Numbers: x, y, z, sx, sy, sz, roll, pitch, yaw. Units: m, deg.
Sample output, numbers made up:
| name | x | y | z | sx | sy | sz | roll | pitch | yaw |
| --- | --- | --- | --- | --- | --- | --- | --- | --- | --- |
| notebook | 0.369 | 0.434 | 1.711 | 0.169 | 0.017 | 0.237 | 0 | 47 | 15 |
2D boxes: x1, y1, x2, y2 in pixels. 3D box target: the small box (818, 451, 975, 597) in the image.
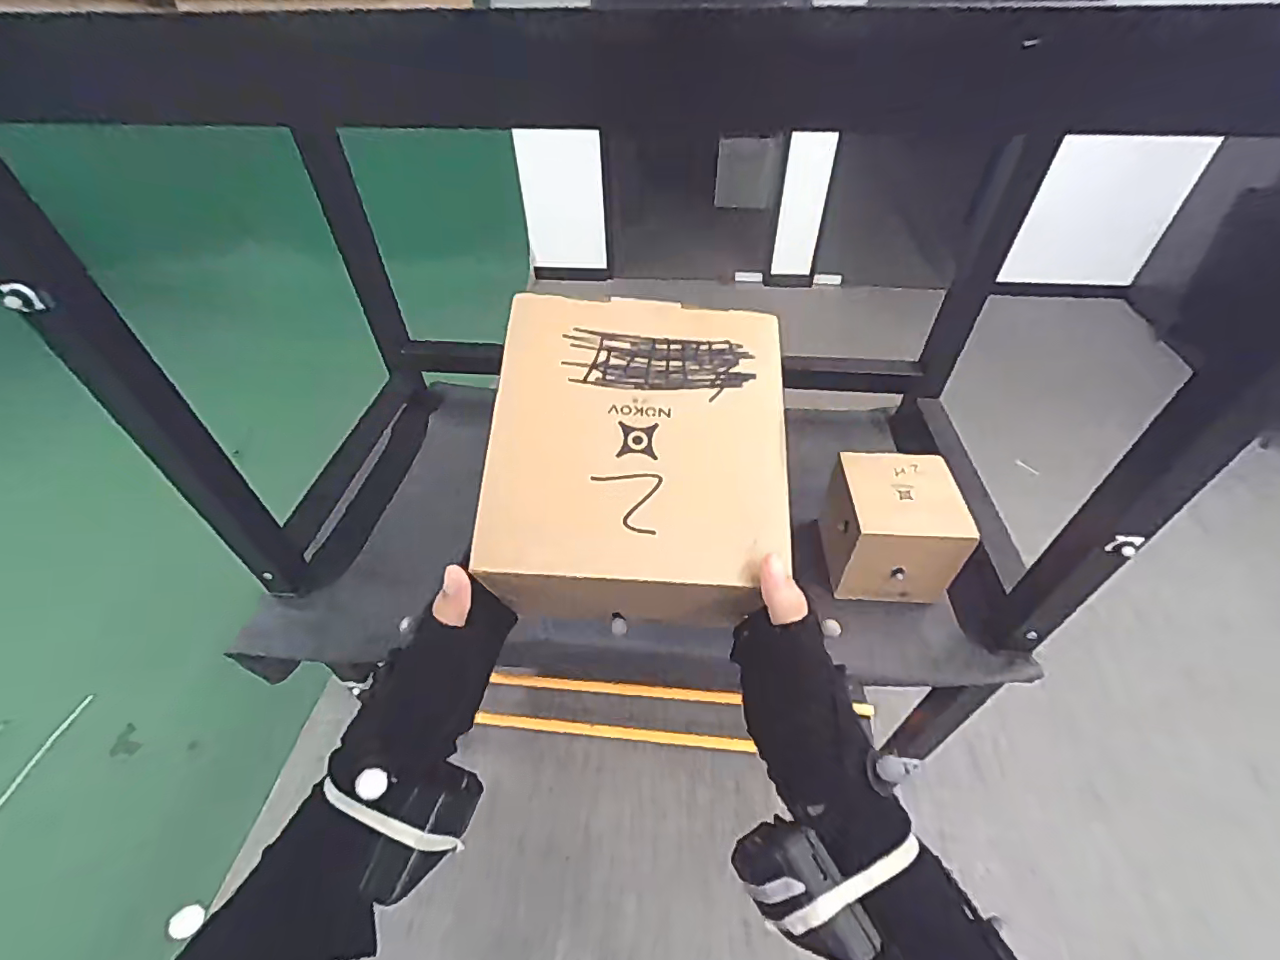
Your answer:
| name | x | y | z | sx | sy | sz | roll | pitch | yaw |
| --- | --- | --- | --- | --- | --- | --- | --- | --- | --- |
| small box | 0.399 | 0.073 | 0.878 | 0.168 | 0.176 | 0.179 | 2 | 44 | 3 |

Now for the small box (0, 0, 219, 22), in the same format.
| name | x | y | z | sx | sy | sz | roll | pitch | yaw |
| --- | --- | --- | --- | --- | --- | --- | --- | --- | --- |
| small box | -0.446 | -0.465 | 0.404 | 0.168 | 0.176 | 0.179 | 3 | 46 | 4 |
